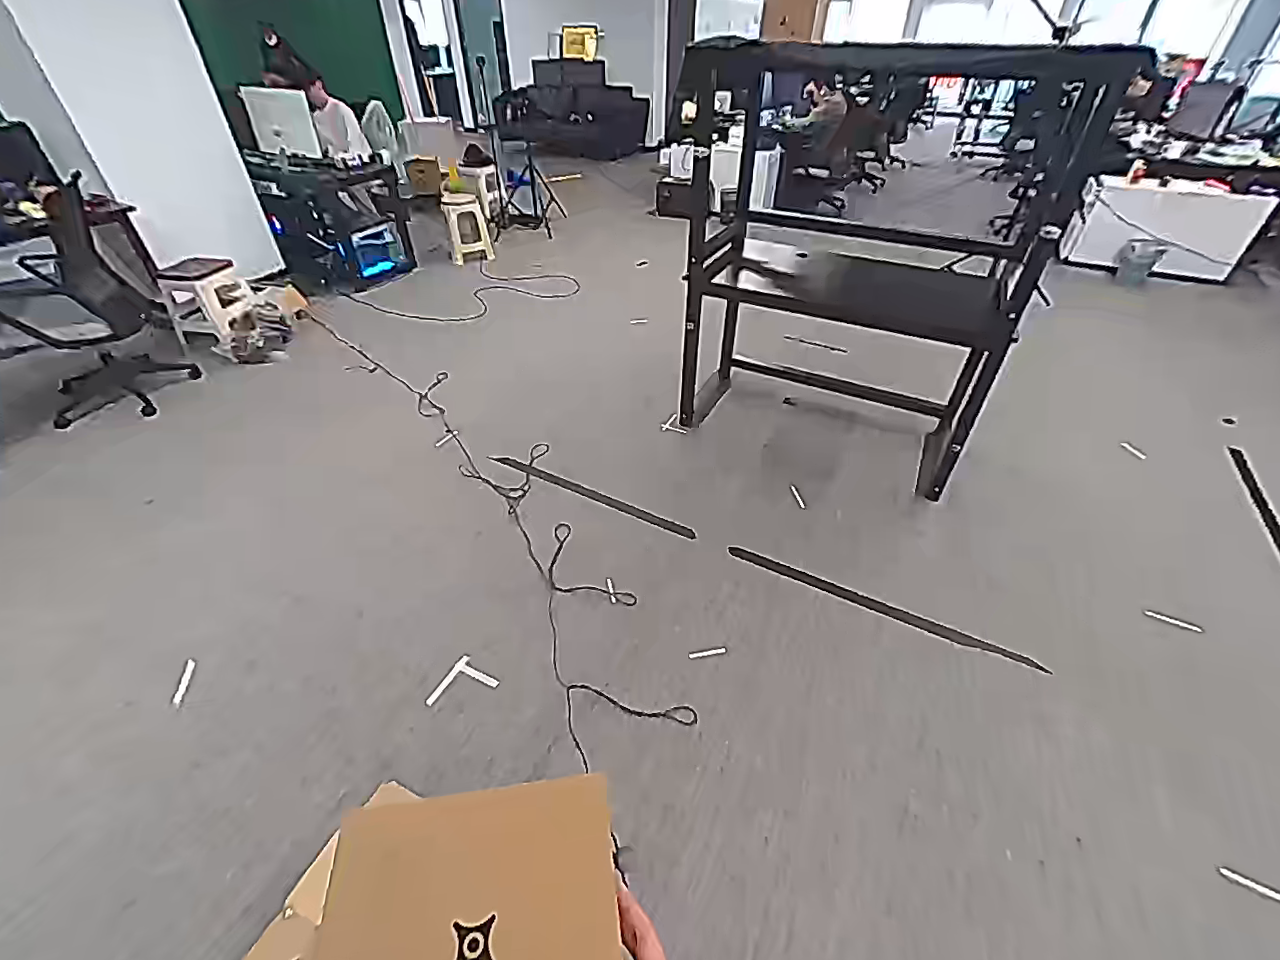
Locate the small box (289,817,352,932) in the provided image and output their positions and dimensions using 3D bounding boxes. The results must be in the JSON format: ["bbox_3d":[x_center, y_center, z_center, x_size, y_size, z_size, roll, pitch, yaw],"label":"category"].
[{"bbox_3d":[-0.594,0.873,1.161,0.168,0.176,0.179,15,43,17],"label":"small box"}]

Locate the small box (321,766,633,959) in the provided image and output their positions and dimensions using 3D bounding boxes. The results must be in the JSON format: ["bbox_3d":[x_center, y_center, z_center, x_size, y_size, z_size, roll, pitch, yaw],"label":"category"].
[{"bbox_3d":[-0.092,0.313,0.346,0.168,0.176,0.179,-4,44,-8],"label":"small box"}]

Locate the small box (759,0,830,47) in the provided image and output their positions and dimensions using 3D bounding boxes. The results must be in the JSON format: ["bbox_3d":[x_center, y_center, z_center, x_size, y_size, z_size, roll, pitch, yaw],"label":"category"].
[{"bbox_3d":[0.477,-1.444,1.657,0.168,0.176,0.179,19,42,20],"label":"small box"}]
